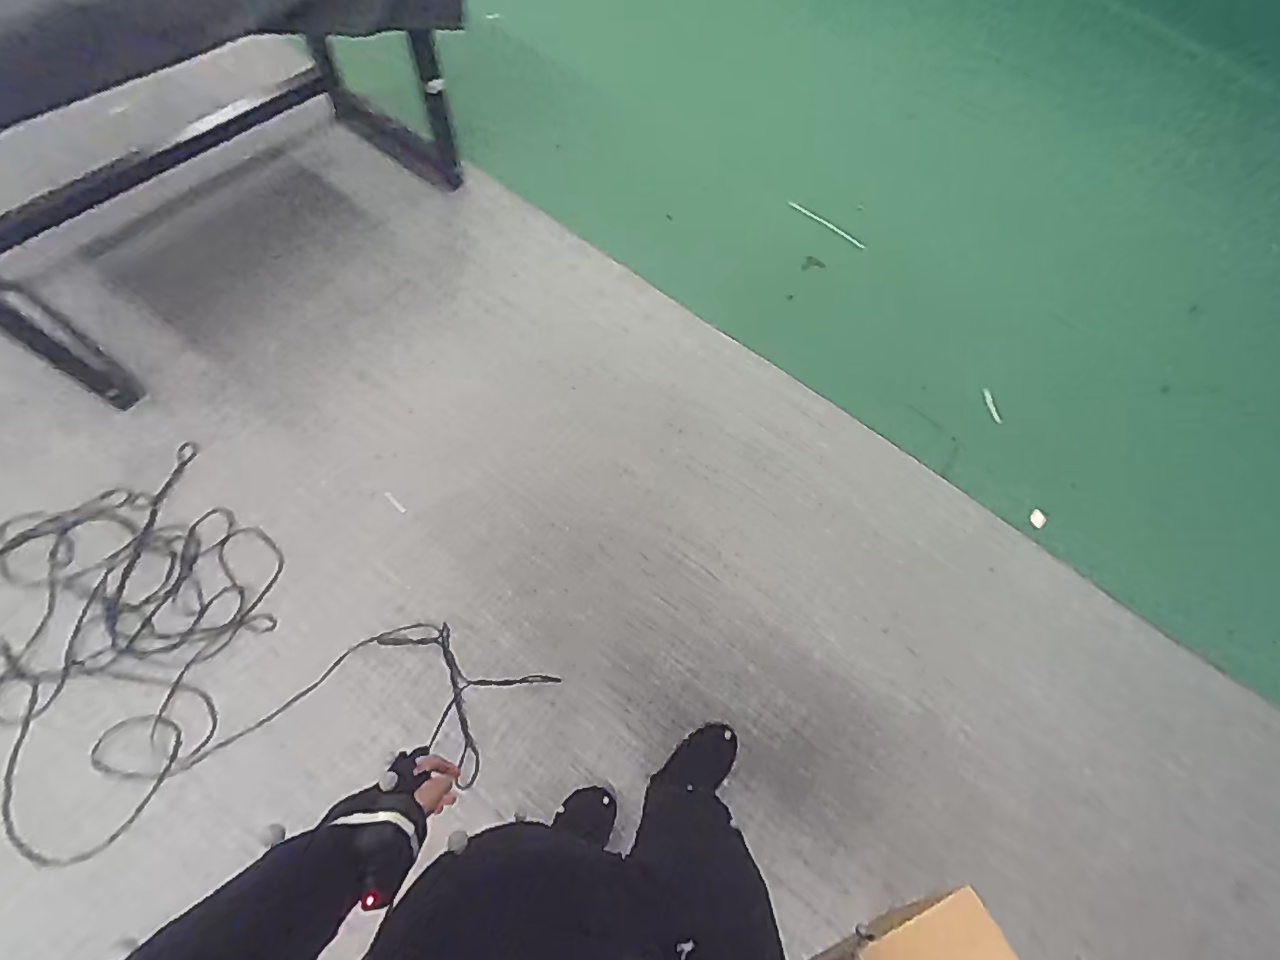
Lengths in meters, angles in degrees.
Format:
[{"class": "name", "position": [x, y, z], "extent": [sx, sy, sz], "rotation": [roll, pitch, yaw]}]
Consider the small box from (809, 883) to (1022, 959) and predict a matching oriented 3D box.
[{"class": "small box", "position": [0.292, 0.555, 0.552], "extent": [0.179, 0.176, 0.168], "rotation": [-6, 45, -26]}]
